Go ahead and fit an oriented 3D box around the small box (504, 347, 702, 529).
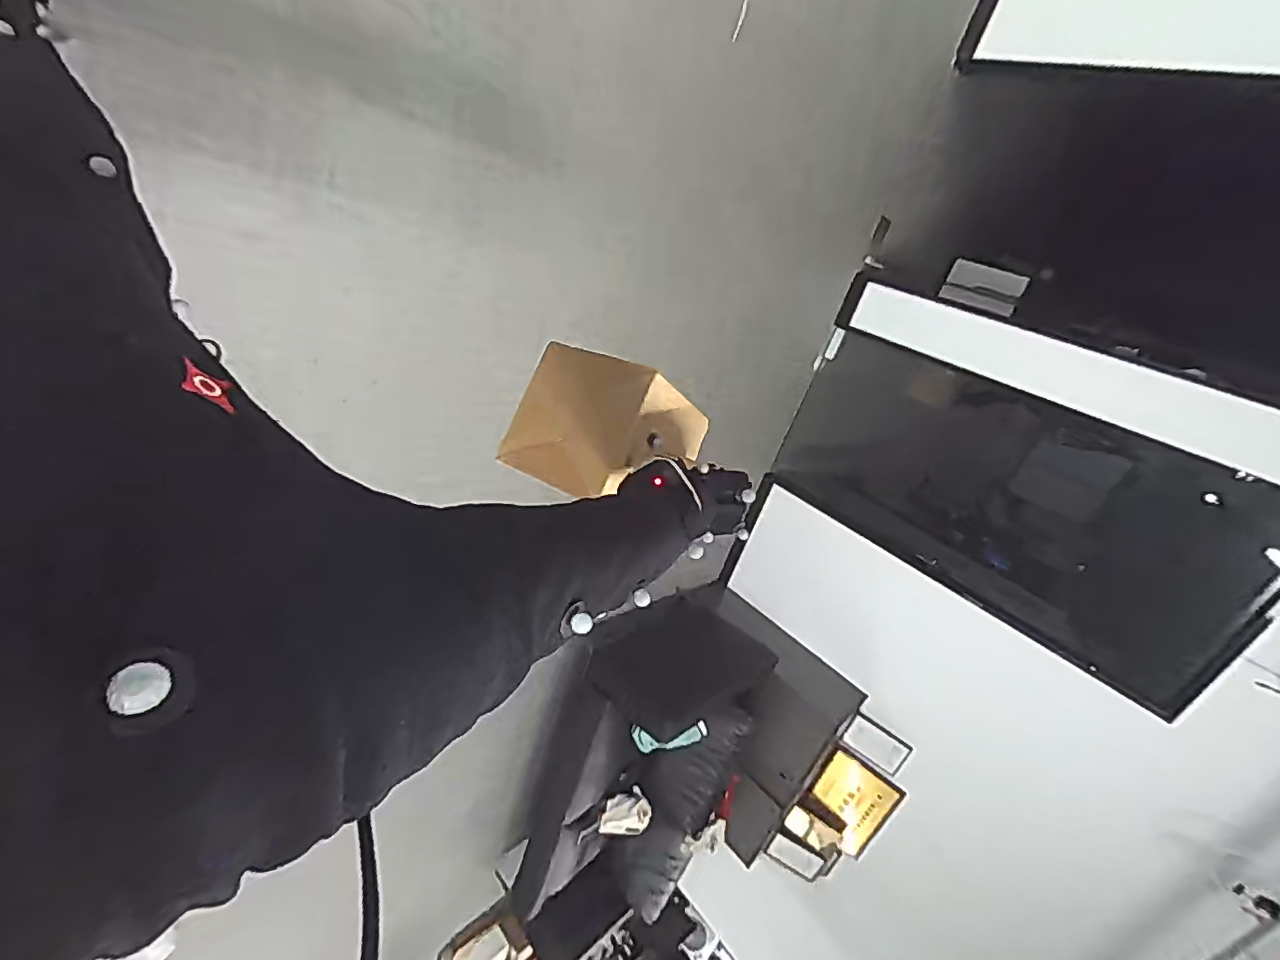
[{"bbox_3d":[-0.053,-0.055,0.706,0.176,0.179,0.168,27,86,-55],"label":"small box"}]
